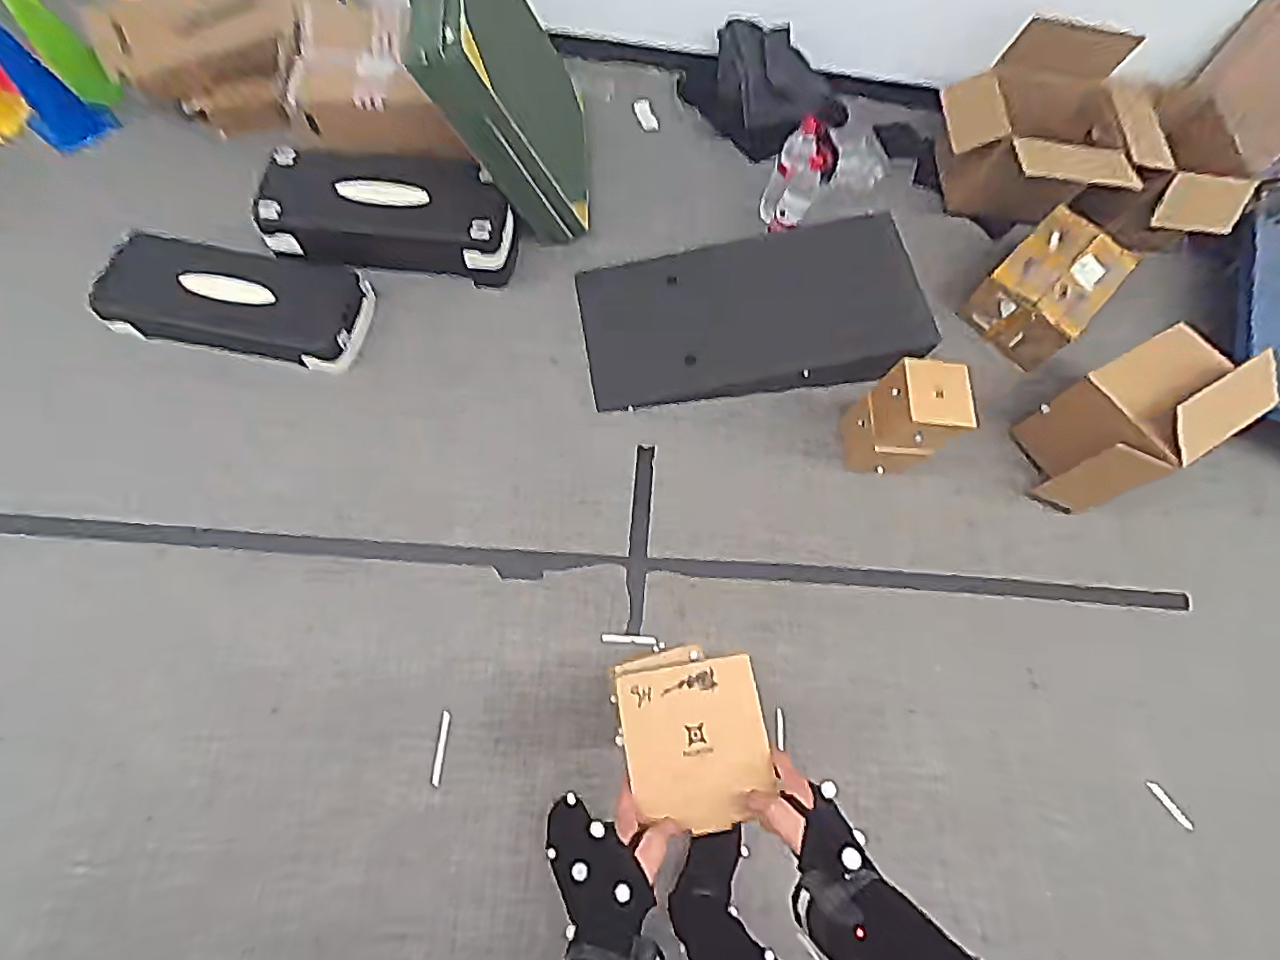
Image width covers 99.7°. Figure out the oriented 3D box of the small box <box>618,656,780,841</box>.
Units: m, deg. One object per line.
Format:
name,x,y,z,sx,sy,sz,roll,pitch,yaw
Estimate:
small box,0.067,0.330,0.700,0.168,0.176,0.179,-9,72,-3
